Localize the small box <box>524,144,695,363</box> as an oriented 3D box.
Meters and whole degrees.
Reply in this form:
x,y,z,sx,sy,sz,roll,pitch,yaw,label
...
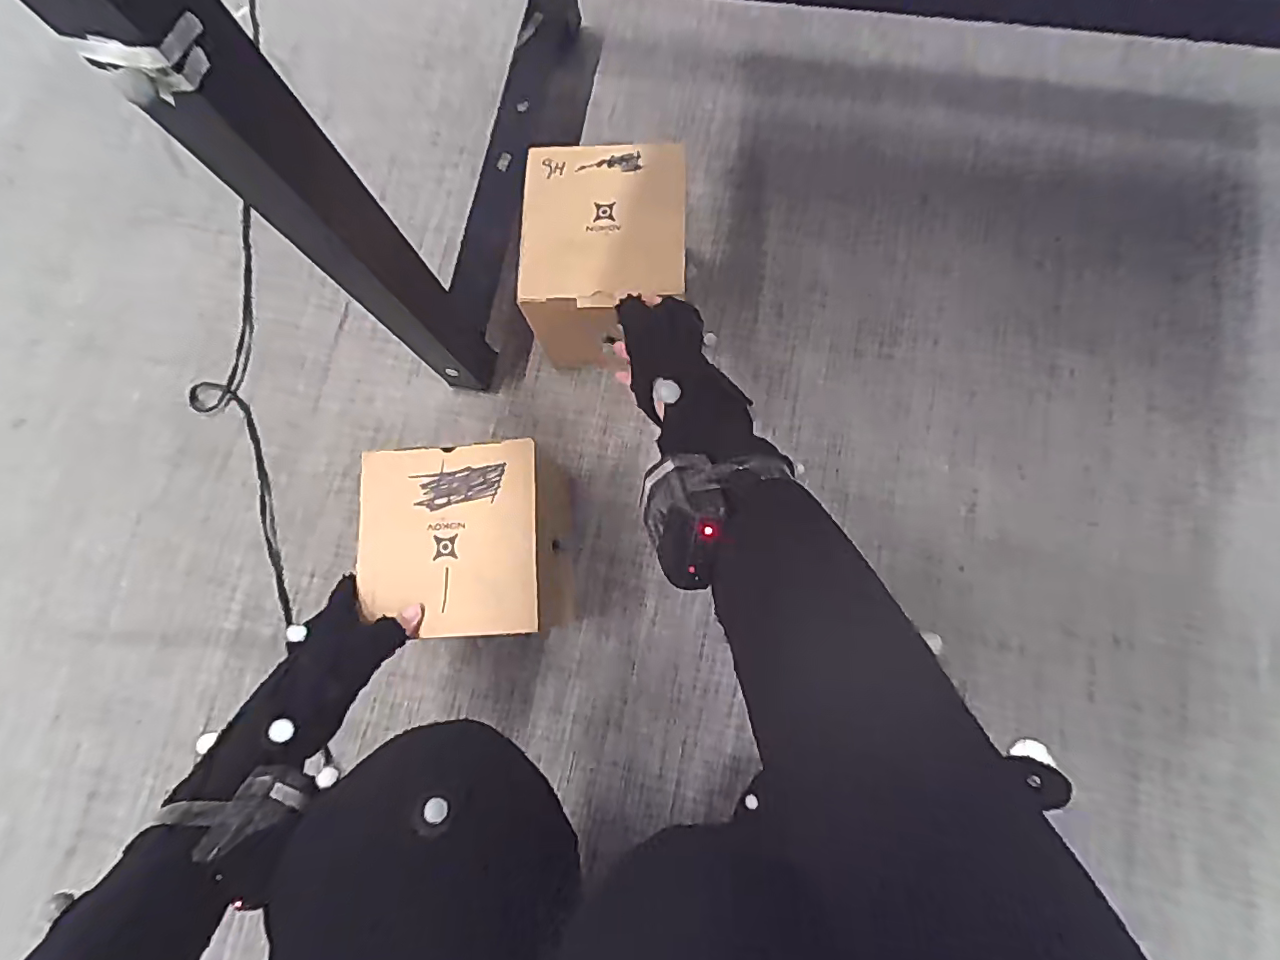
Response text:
x,y,z,sx,sy,sz,roll,pitch,yaw,label
-0.025,-0.244,0.616,0.168,0.176,0.179,2,80,3,small box
